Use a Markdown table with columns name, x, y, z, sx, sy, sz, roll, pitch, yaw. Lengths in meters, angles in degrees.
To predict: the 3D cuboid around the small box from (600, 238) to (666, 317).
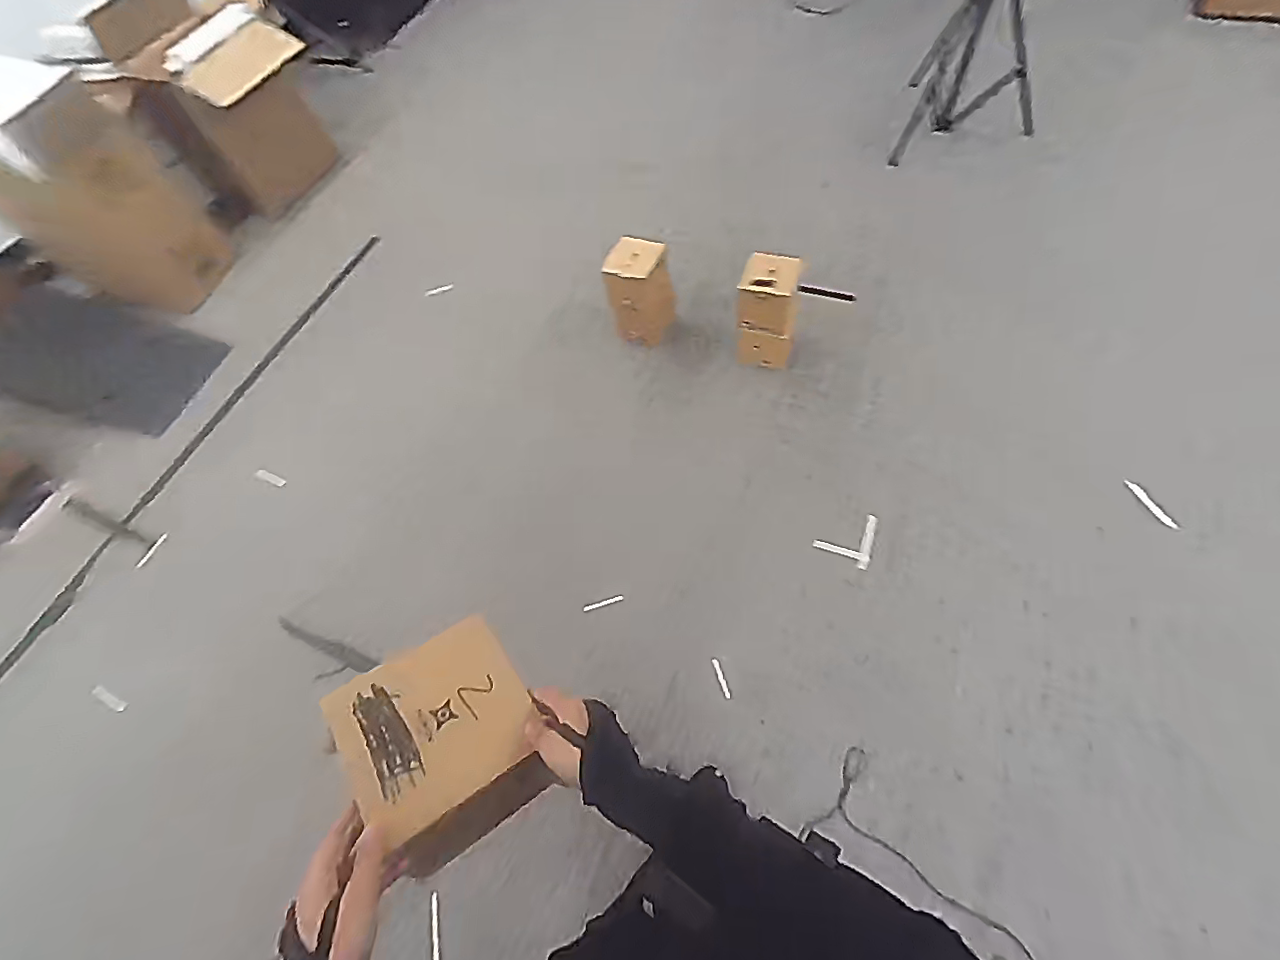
| name | x | y | z | sx | sy | sz | roll | pitch | yaw |
| --- | --- | --- | --- | --- | --- | --- | --- | --- | --- |
| small box | -0.016 | -0.704 | 1.881 | 0.168 | 0.176 | 0.179 | 19 | 67 | 19 |

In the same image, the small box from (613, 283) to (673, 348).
| name | x | y | z | sx | sy | sz | roll | pitch | yaw |
| --- | --- | --- | --- | --- | --- | --- | --- | --- | --- |
| small box | 0.015 | -0.628 | 2.024 | 0.168 | 0.176 | 0.179 | 20 | 67 | 19 |

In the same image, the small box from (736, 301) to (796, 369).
| name | x | y | z | sx | sy | sz | roll | pitch | yaw |
| --- | --- | --- | --- | --- | --- | --- | --- | --- | --- |
| small box | 0.440 | -0.517 | 1.899 | 0.168 | 0.176 | 0.179 | 15 | 65 | 16 |

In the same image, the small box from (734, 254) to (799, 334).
| name | x | y | z | sx | sy | sz | roll | pitch | yaw |
| --- | --- | --- | --- | --- | --- | --- | --- | --- | --- |
| small box | 0.410 | -0.602 | 1.761 | 0.168 | 0.176 | 0.179 | 15 | 64 | 16 |
